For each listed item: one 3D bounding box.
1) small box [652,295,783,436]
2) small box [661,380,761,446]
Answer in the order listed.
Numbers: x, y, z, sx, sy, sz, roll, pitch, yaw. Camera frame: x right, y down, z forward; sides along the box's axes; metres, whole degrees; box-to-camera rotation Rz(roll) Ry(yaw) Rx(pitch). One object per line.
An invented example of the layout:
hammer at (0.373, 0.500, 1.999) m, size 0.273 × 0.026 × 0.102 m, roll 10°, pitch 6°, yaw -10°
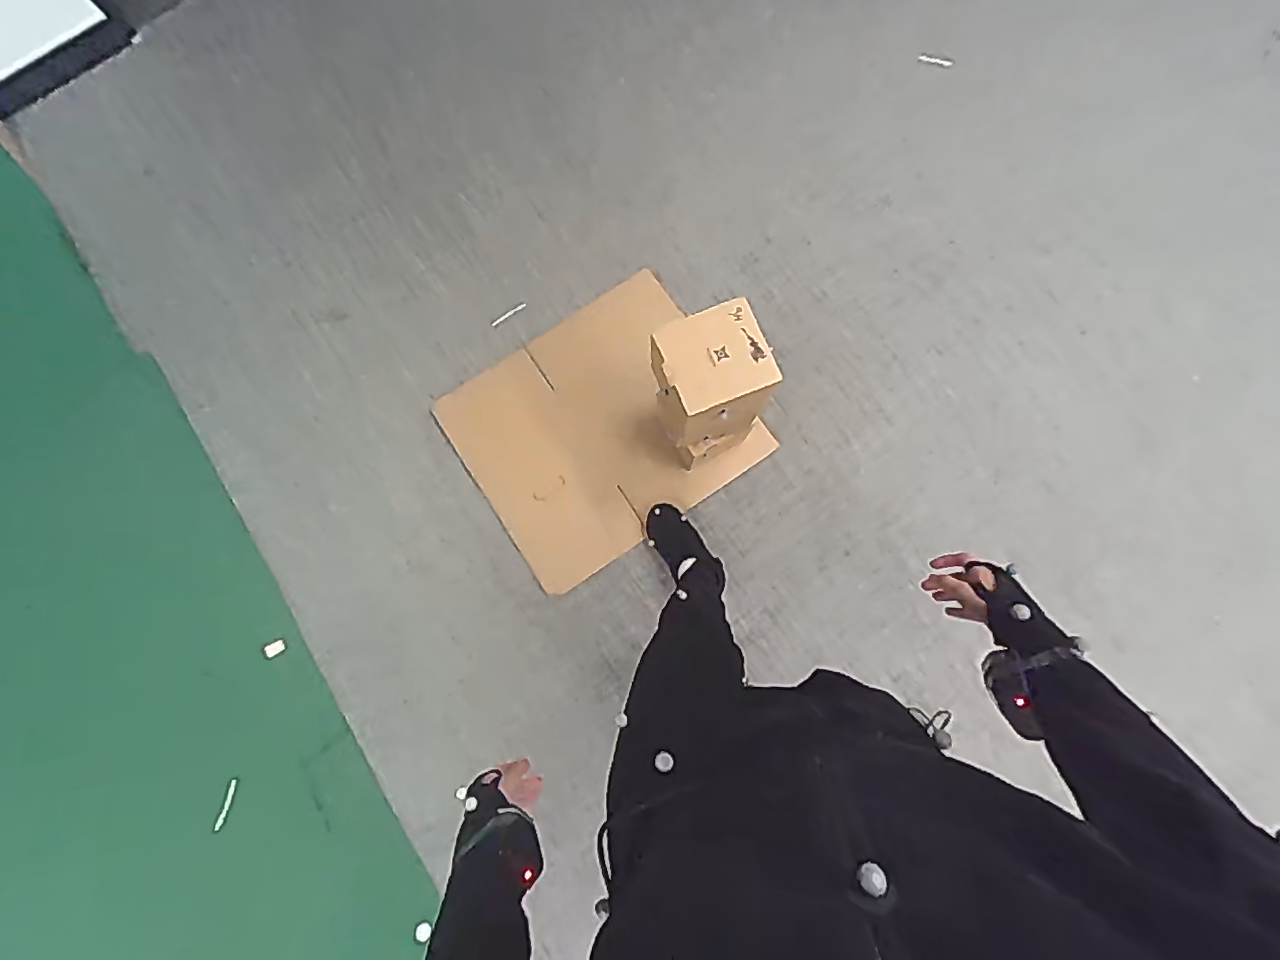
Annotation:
small box at (0.133, -0.196, 0.978) m, size 0.179 × 0.176 × 0.168 m, roll -21°, pitch 81°, yaw -1°
small box at (0.141, -0.186, 1.142) m, size 0.168 × 0.176 × 0.179 m, roll -13°, pitch 81°, yaw -1°
